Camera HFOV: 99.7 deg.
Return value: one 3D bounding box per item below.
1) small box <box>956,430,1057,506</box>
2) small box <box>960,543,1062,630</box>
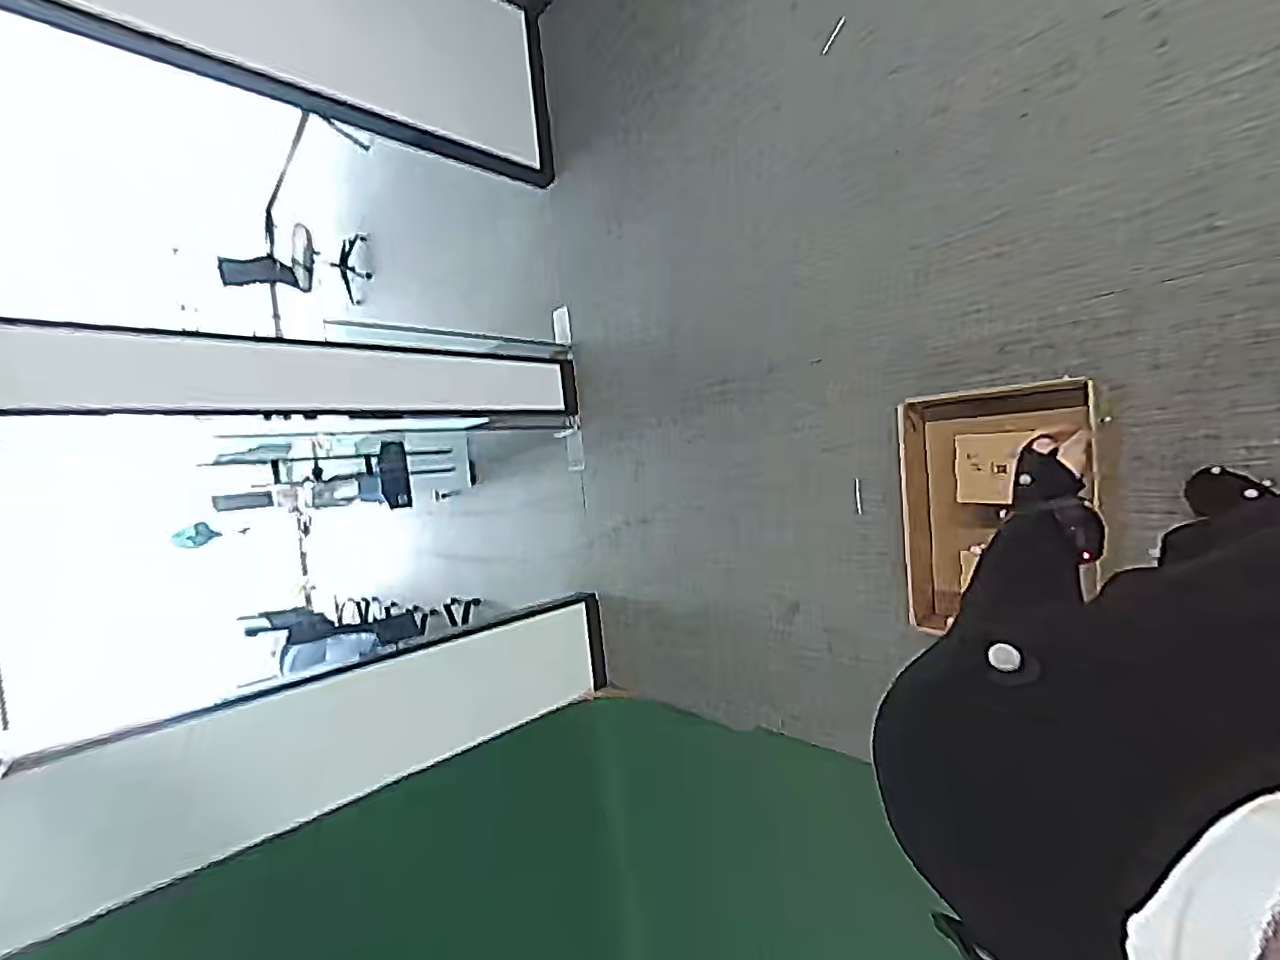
[{"bbox_3d":[0.881,-0.033,1.298,0.179,0.176,0.168,1,95,47],"label":"small box"},{"bbox_3d":[0.902,0.248,1.309,0.179,0.176,0.168,-1,93,48],"label":"small box"}]
